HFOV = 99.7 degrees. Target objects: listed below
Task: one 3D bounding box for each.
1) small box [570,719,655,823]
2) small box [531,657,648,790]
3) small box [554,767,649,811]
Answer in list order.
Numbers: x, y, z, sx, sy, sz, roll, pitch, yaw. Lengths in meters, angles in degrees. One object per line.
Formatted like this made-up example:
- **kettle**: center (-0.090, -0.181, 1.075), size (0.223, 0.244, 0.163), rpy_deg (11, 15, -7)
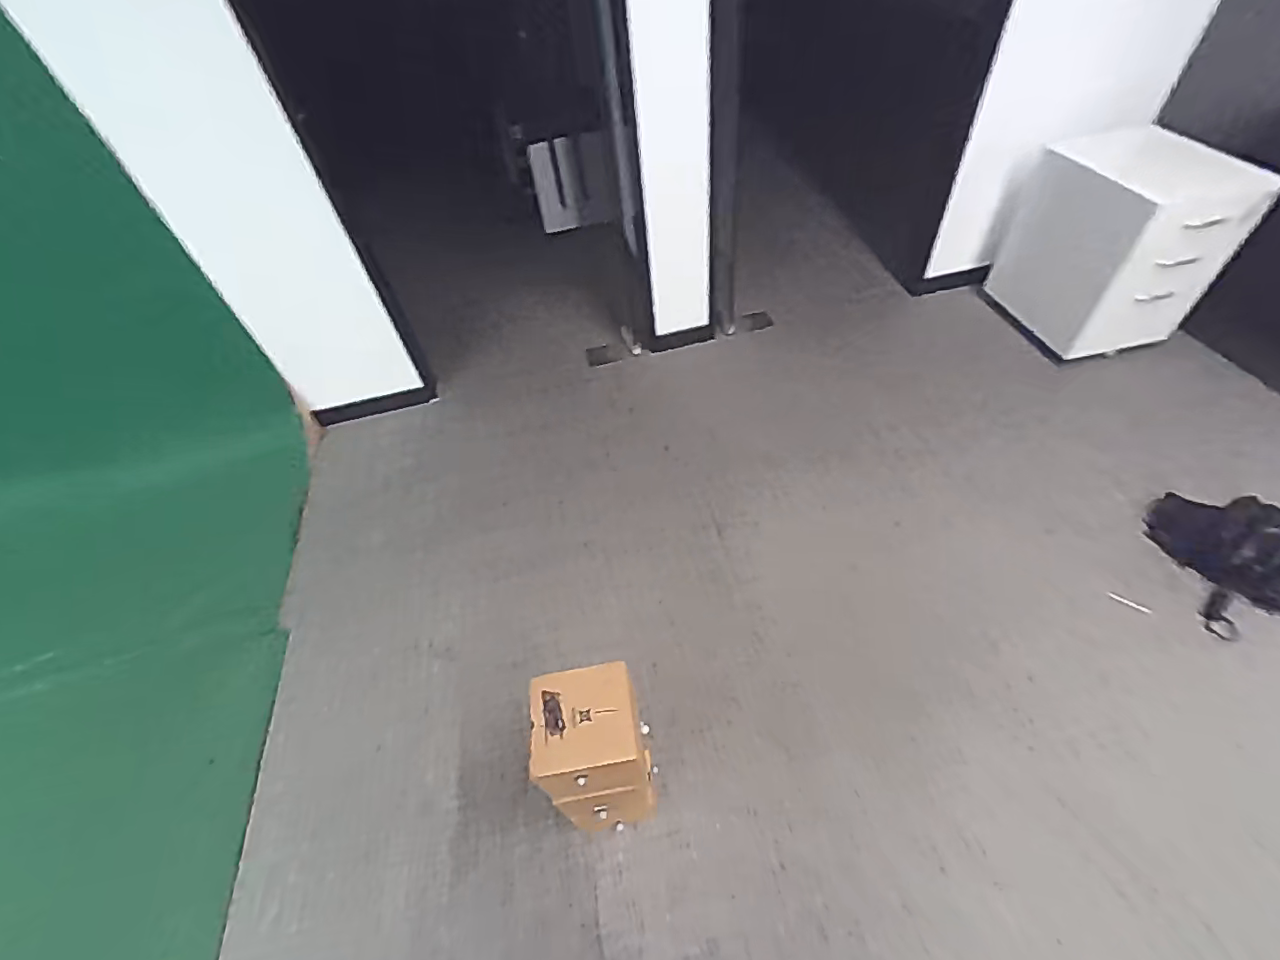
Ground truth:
- **small box**: center (-0.061, 0.659, 1.222), size (0.179, 0.176, 0.168), rpy_deg (-9, 49, -1)
- **small box**: center (-0.090, 0.444, 0.978), size (0.179, 0.176, 0.168), rpy_deg (-10, 50, 0)
- **small box**: center (-0.079, 0.551, 1.103), size (0.168, 0.176, 0.179), rpy_deg (-11, 50, 0)
